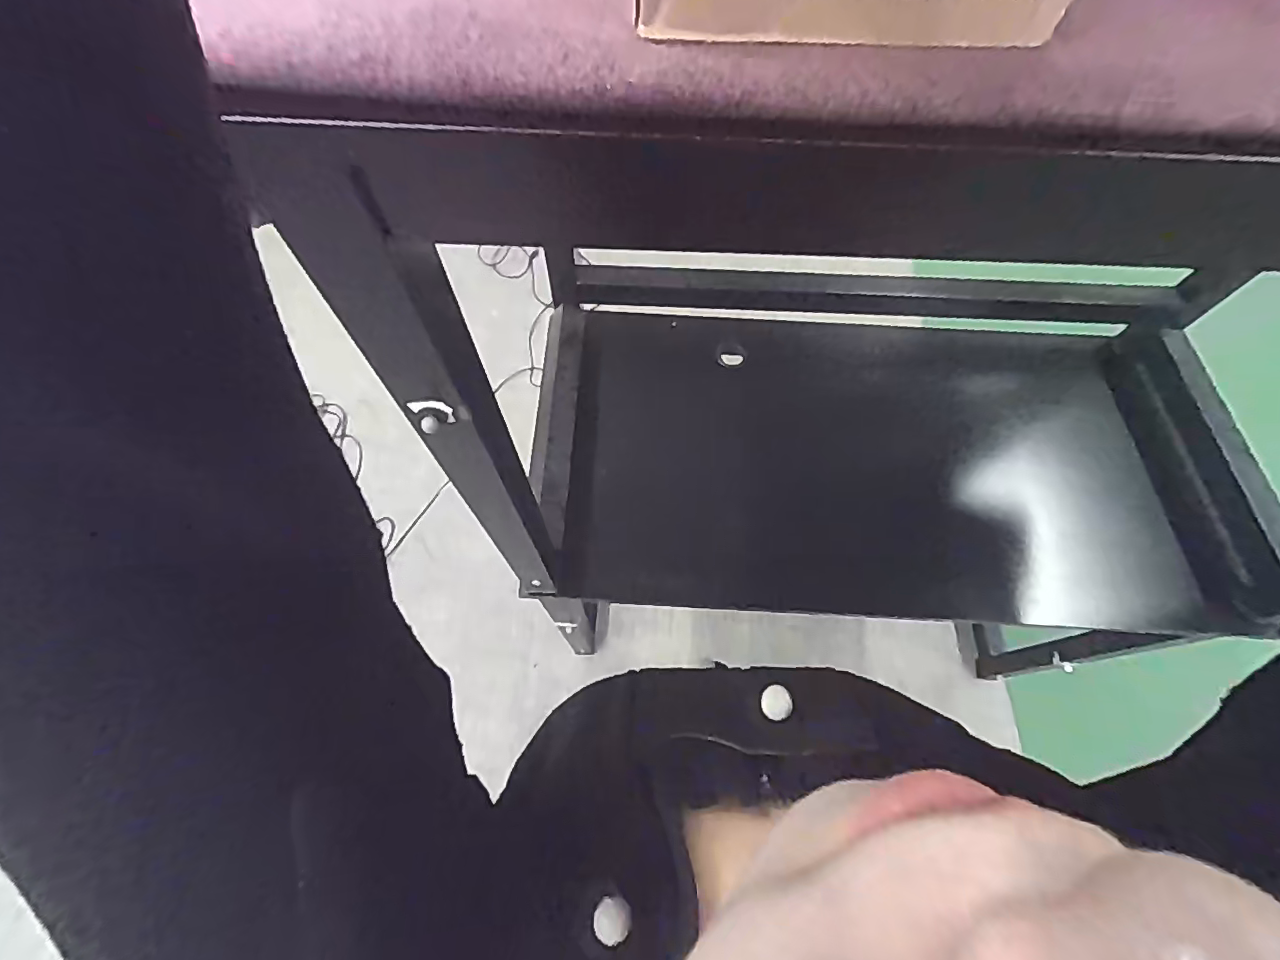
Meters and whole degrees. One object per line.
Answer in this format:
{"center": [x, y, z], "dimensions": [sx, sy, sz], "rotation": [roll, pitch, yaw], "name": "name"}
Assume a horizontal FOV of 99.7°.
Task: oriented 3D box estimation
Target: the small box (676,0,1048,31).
{"center": [0.081, -0.290, 0.174], "dimensions": [0.168, 0.176, 0.179], "rotation": [0, 65, -2], "name": "small box"}
